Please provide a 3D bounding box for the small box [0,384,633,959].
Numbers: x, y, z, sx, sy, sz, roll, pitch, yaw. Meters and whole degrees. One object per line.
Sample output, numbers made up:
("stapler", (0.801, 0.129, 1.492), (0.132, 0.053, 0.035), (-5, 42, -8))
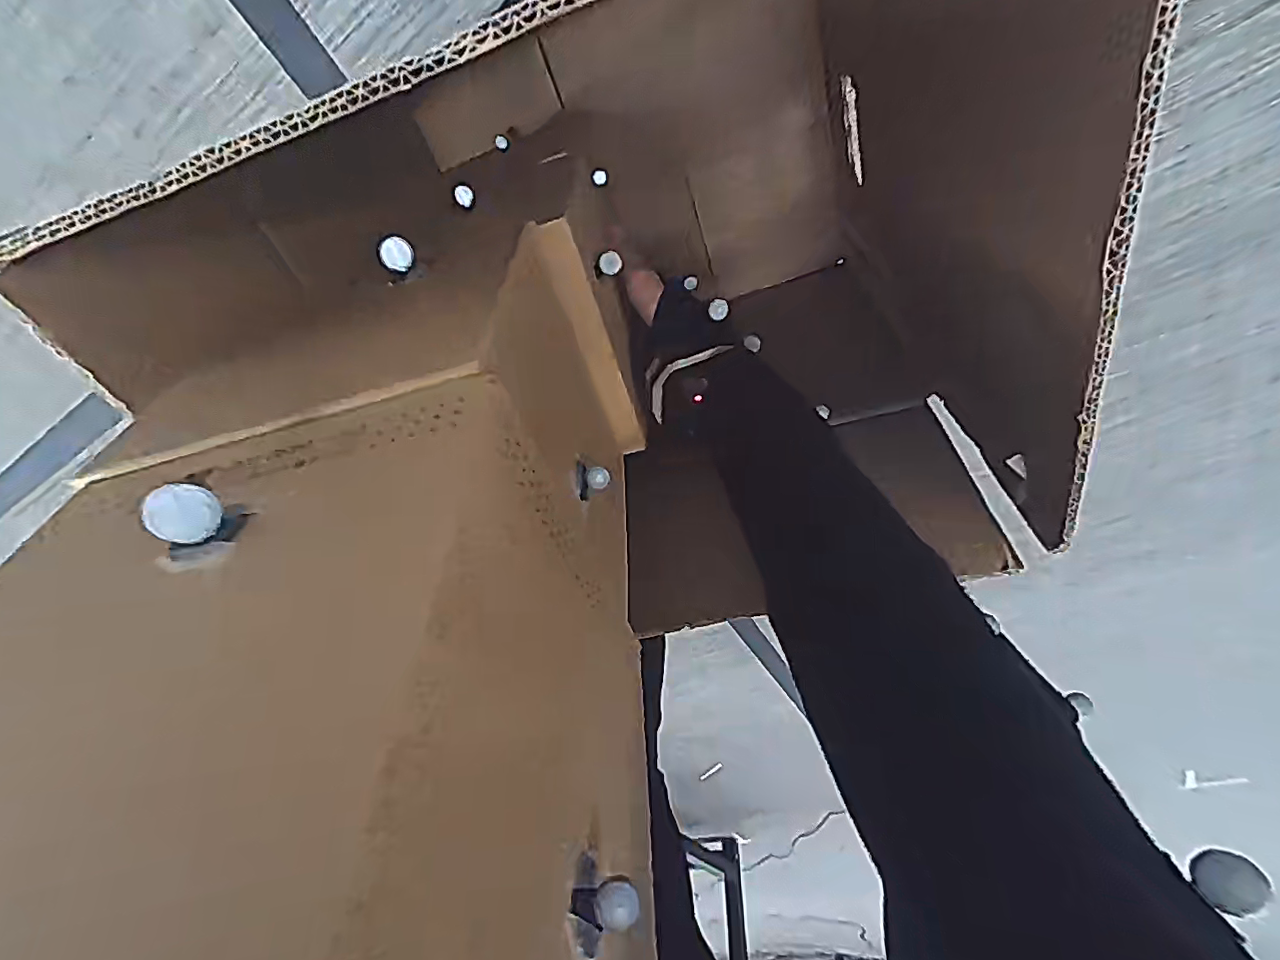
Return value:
("small box", (-0.100, 0.097, 0.185), (0.168, 0.176, 0.179), (-14, 130, 9))
